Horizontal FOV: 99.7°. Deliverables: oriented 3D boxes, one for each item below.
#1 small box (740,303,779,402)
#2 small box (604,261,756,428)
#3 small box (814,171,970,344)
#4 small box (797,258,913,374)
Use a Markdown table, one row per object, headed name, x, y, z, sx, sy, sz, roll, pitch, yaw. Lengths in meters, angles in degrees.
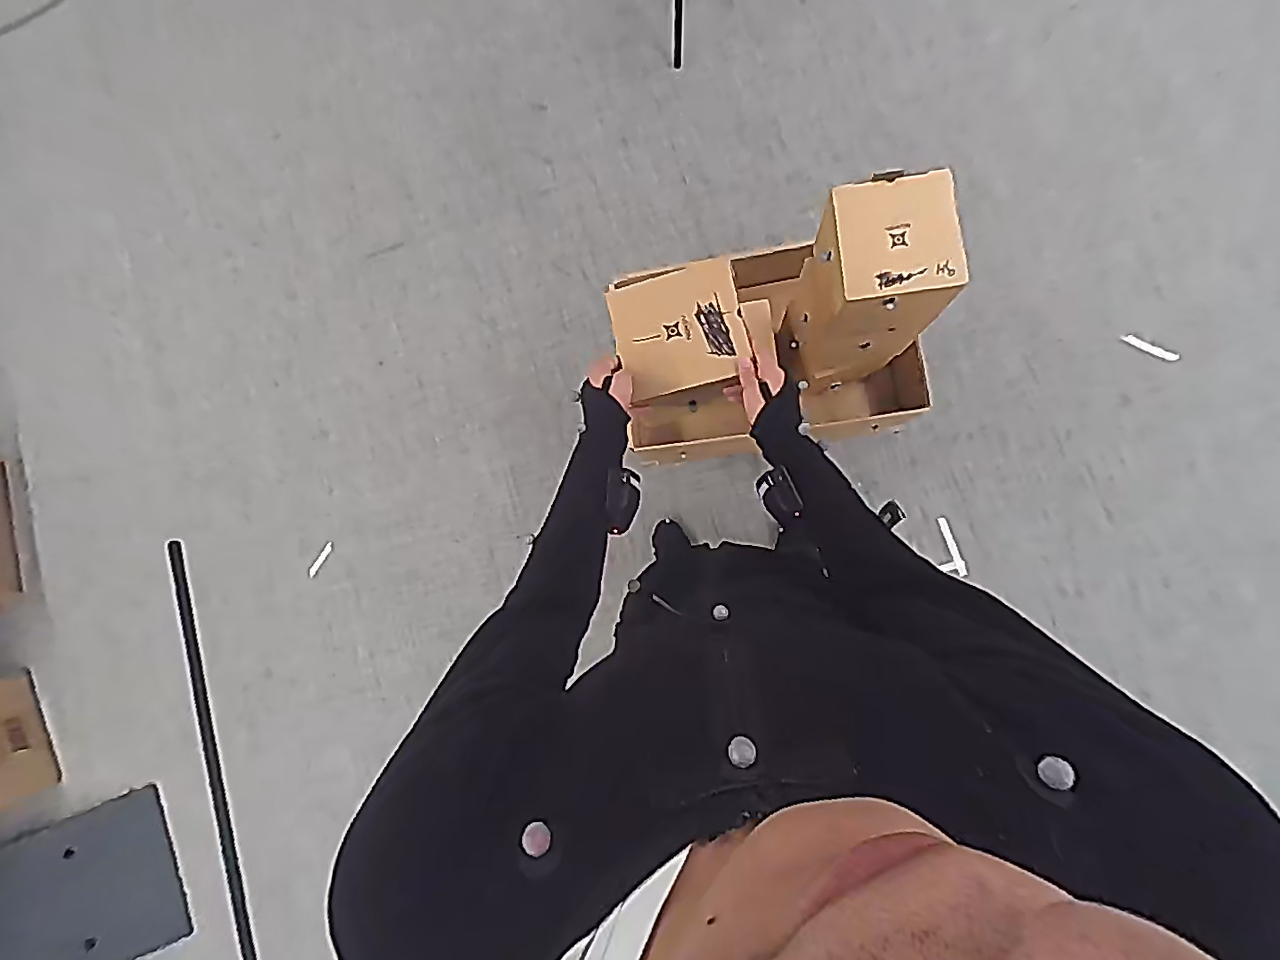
| name | x | y | z | sx | sy | sz | roll | pitch | yaw |
| --- | --- | --- | --- | --- | --- | --- | --- | --- | --- |
| small box | 0.195 | -0.264 | 1.179 | 0.179 | 0.176 | 0.168 | -7 | 83 | 6 |
| small box | 0.063 | -0.186 | 0.793 | 0.179 | 0.176 | 0.168 | -14 | 82 | 9 |
| small box | 0.371 | -0.329 | 0.828 | 0.168 | 0.176 | 0.179 | -5 | 83 | 8 |
| small box | 0.393 | -0.308 | 0.990 | 0.179 | 0.176 | 0.168 | -11 | 83 | 7 |
